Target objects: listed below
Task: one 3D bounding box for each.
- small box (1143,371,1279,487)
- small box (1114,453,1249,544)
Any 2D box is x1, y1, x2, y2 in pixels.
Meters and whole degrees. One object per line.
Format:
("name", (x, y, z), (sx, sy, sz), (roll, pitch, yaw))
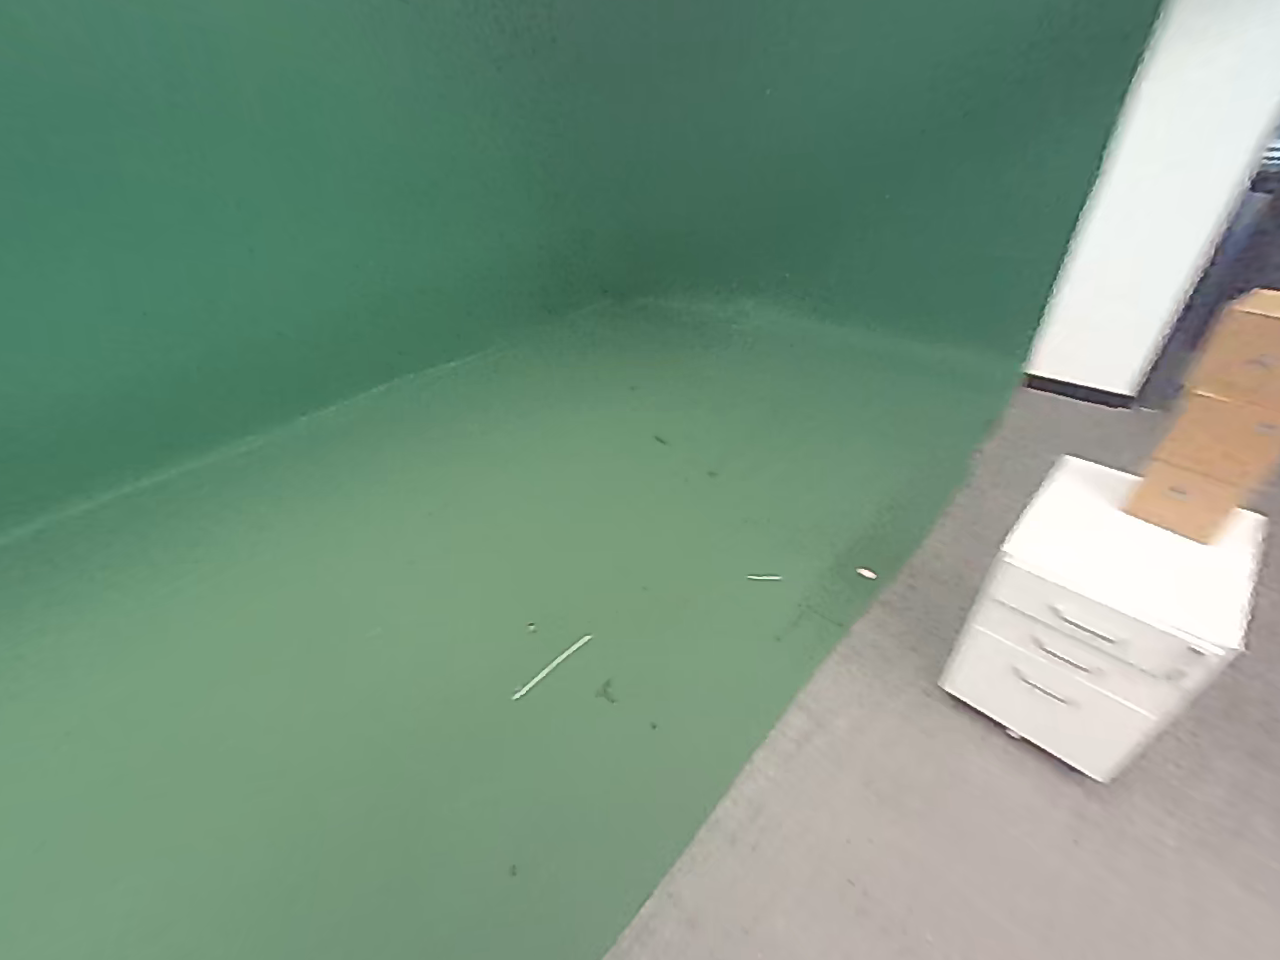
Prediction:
("small box", (1.249, -0.111, 1.167), (0.168, 0.176, 0.179), (-28, 43, -28))
("small box", (1.266, 0.019, 1.263), (0.168, 0.176, 0.179), (-28, 42, -27))
